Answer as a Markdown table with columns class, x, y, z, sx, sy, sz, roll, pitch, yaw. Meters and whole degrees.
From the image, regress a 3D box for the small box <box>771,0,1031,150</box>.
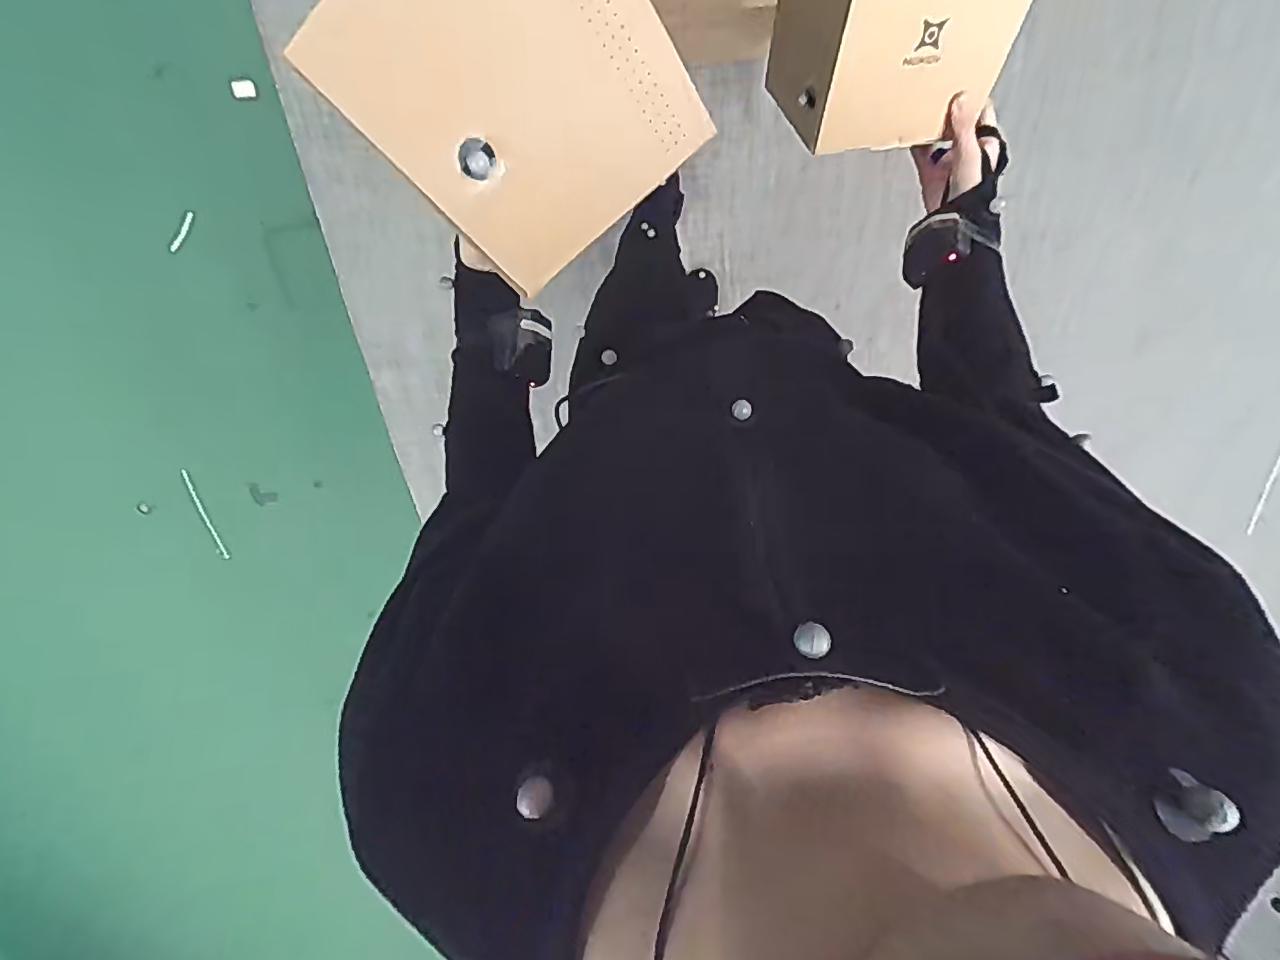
| class | x | y | z | sx | sy | sz | roll | pitch | yaw |
| --- | --- | --- | --- | --- | --- | --- | --- | --- | --- |
| small box | 0.234 | -0.447 | 0.506 | 0.168 | 0.176 | 0.179 | -8 | 147 | -4 |
